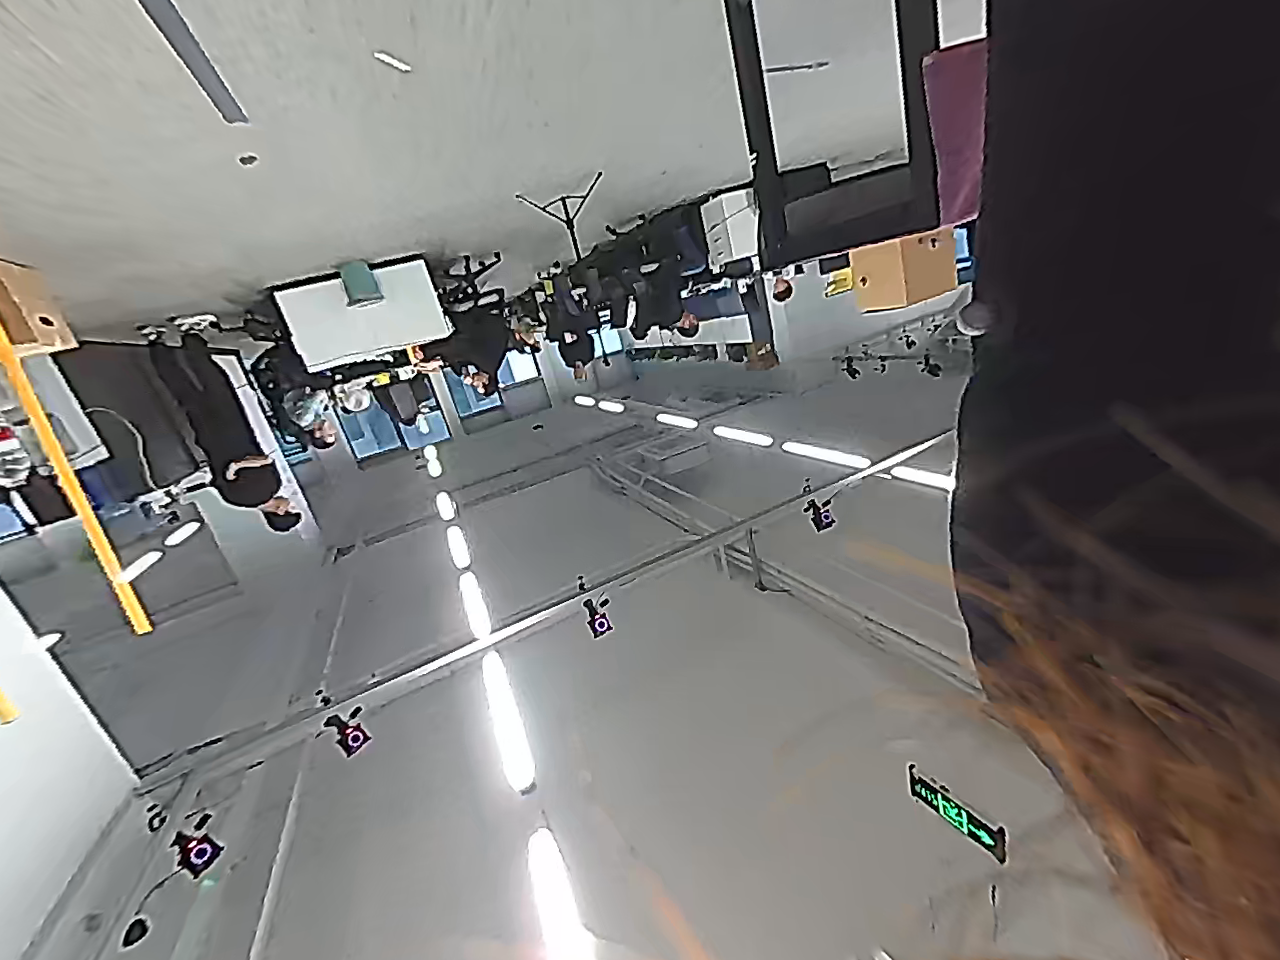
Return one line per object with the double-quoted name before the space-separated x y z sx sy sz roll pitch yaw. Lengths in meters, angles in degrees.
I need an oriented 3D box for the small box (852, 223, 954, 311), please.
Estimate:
"small box" 0.658 -0.536 1.366 0.168 0.176 0.179 -22 -161 -15
